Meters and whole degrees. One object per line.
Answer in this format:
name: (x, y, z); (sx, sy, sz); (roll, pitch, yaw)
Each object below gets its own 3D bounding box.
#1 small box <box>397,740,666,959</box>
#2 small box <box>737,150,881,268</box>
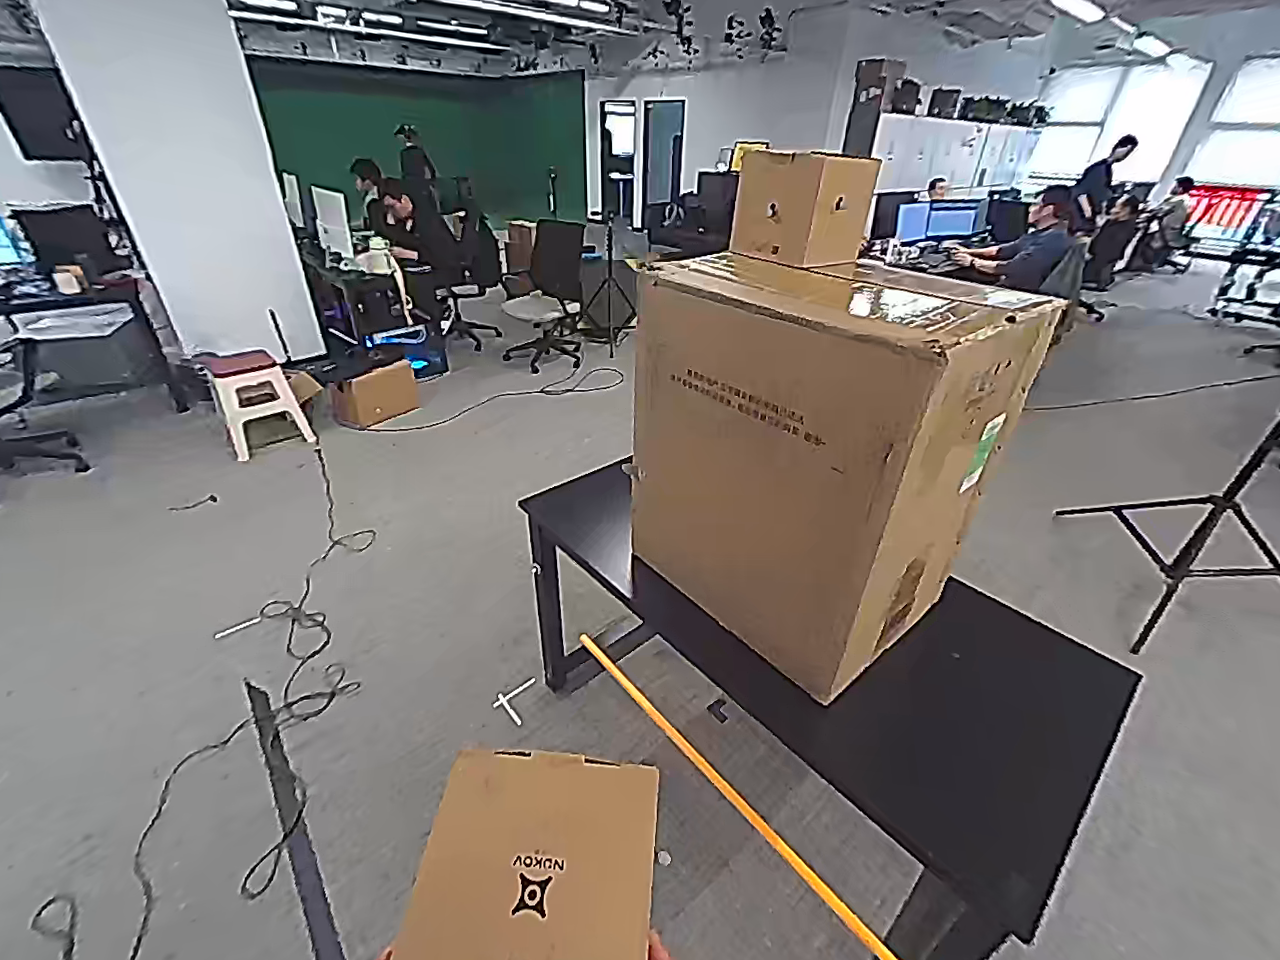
small box: (-0.070, 0.337, 0.430); (0.168, 0.176, 0.179); (4, 42, 3)
small box: (0.288, -0.478, 0.953); (0.179, 0.176, 0.168); (-22, 41, -35)
